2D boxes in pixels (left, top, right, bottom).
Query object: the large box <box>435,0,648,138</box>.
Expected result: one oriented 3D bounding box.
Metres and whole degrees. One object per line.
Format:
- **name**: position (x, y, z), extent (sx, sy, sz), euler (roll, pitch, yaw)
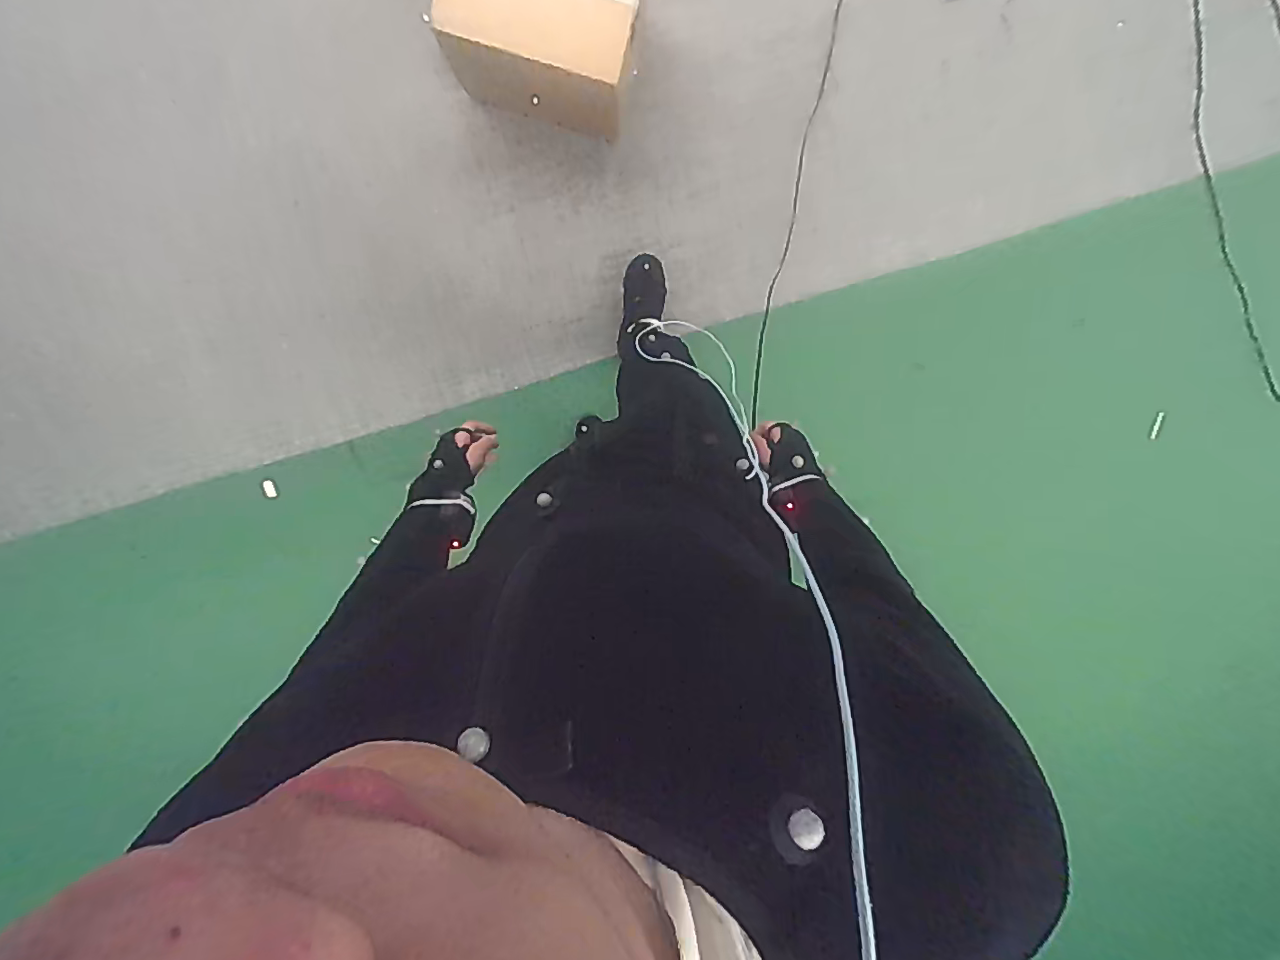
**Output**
- **large box**: position (-0.202, -1.060, 1.252), extent (0.408, 0.320, 0.320), euler (14, 101, -4)
